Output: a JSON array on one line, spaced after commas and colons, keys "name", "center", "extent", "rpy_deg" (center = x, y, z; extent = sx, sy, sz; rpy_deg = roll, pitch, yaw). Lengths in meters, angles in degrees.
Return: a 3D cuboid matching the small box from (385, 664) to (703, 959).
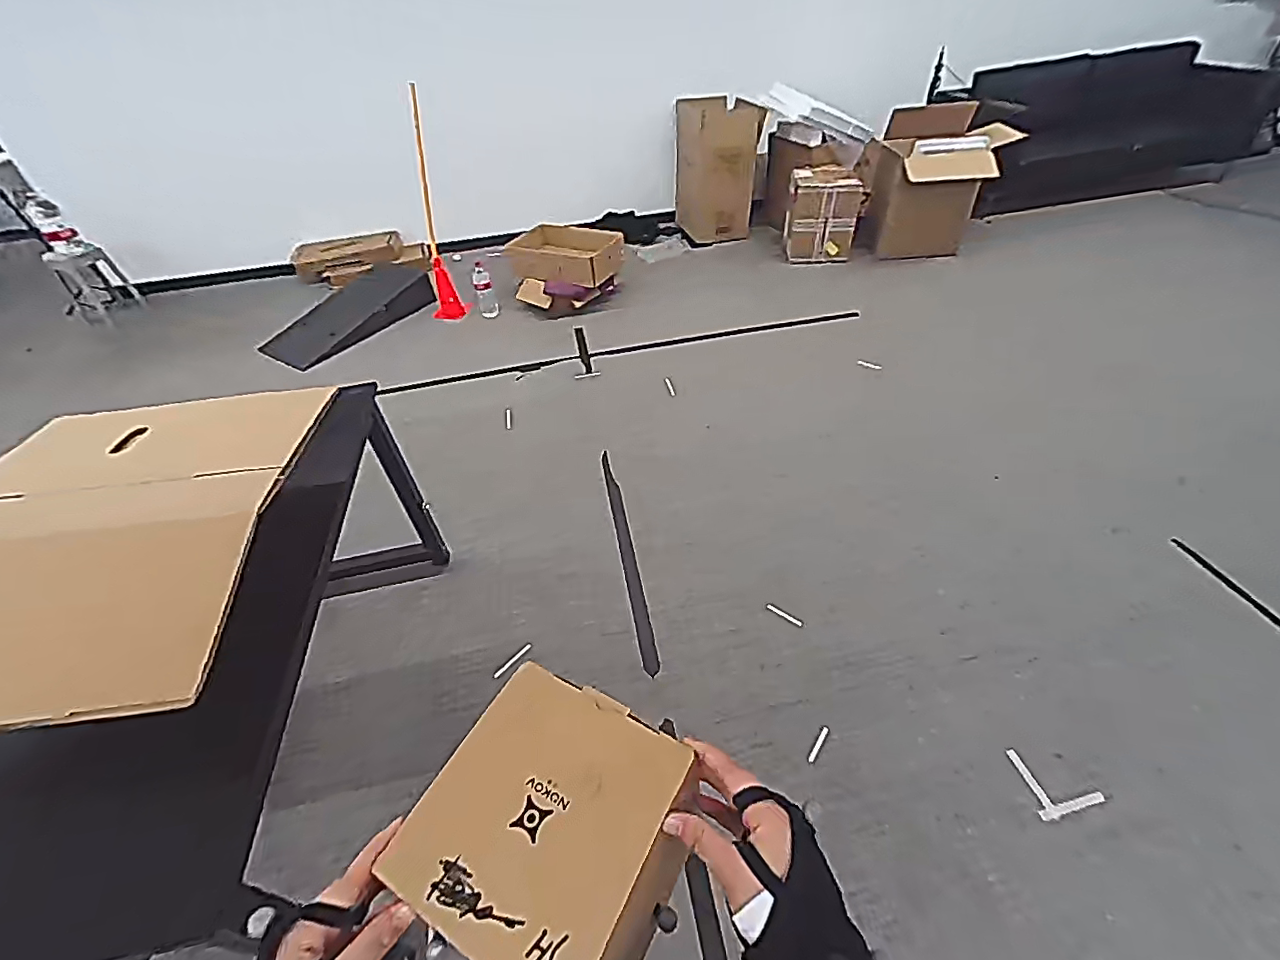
[{"name": "small box", "center": [-0.057, 0.293, 0.441], "extent": [0.168, 0.176, 0.179], "rpy_deg": [16, 47, 26]}]
